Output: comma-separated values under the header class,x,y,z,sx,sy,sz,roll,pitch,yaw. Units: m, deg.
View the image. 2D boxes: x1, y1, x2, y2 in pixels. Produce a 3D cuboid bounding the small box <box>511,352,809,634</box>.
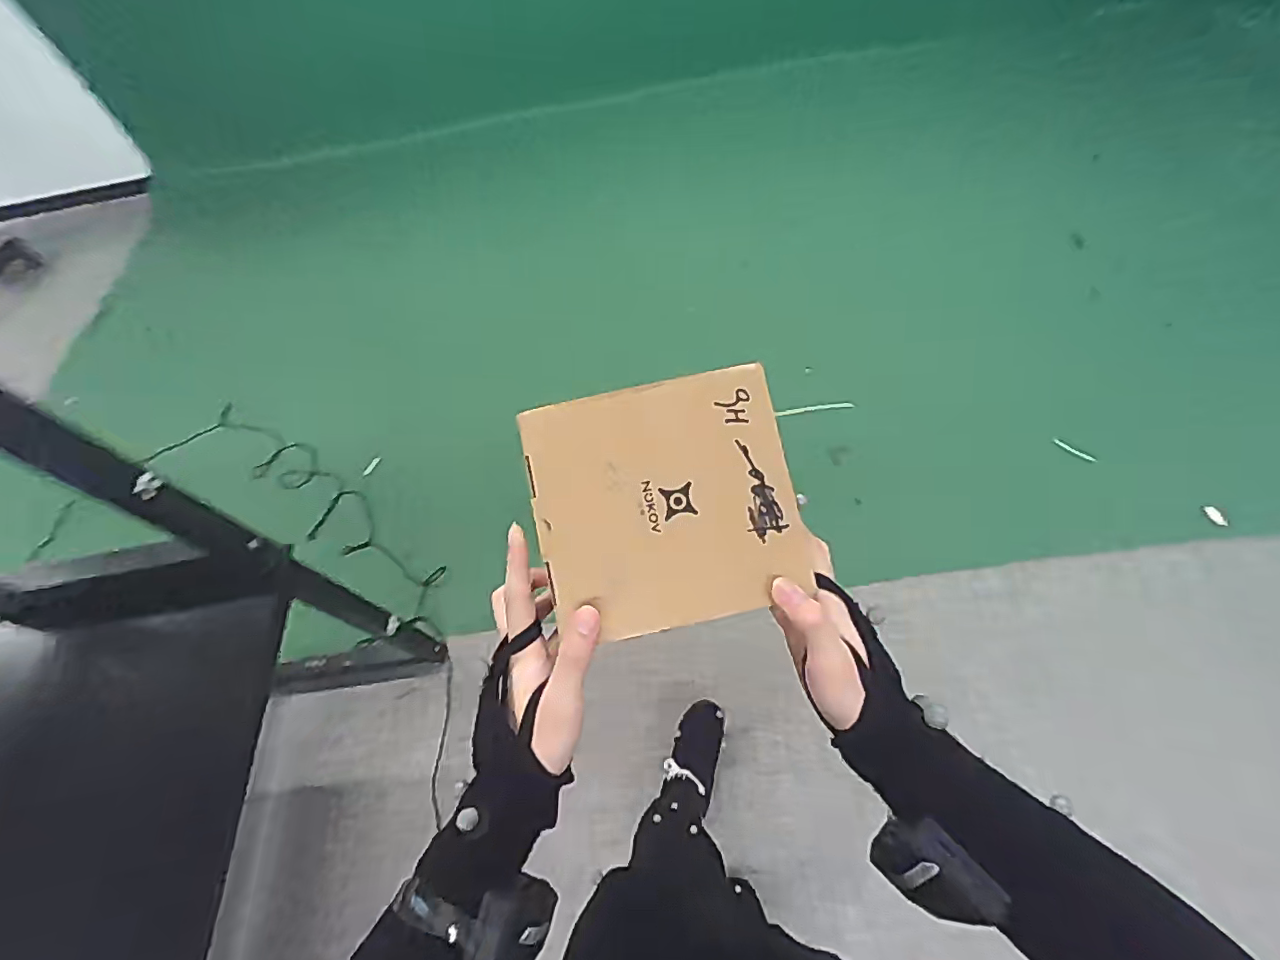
class,x,y,z,sx,sy,sz,roll,pitch,yaw
small box,0.012,0.016,0.429,0.179,0.176,0.168,-9,84,0
